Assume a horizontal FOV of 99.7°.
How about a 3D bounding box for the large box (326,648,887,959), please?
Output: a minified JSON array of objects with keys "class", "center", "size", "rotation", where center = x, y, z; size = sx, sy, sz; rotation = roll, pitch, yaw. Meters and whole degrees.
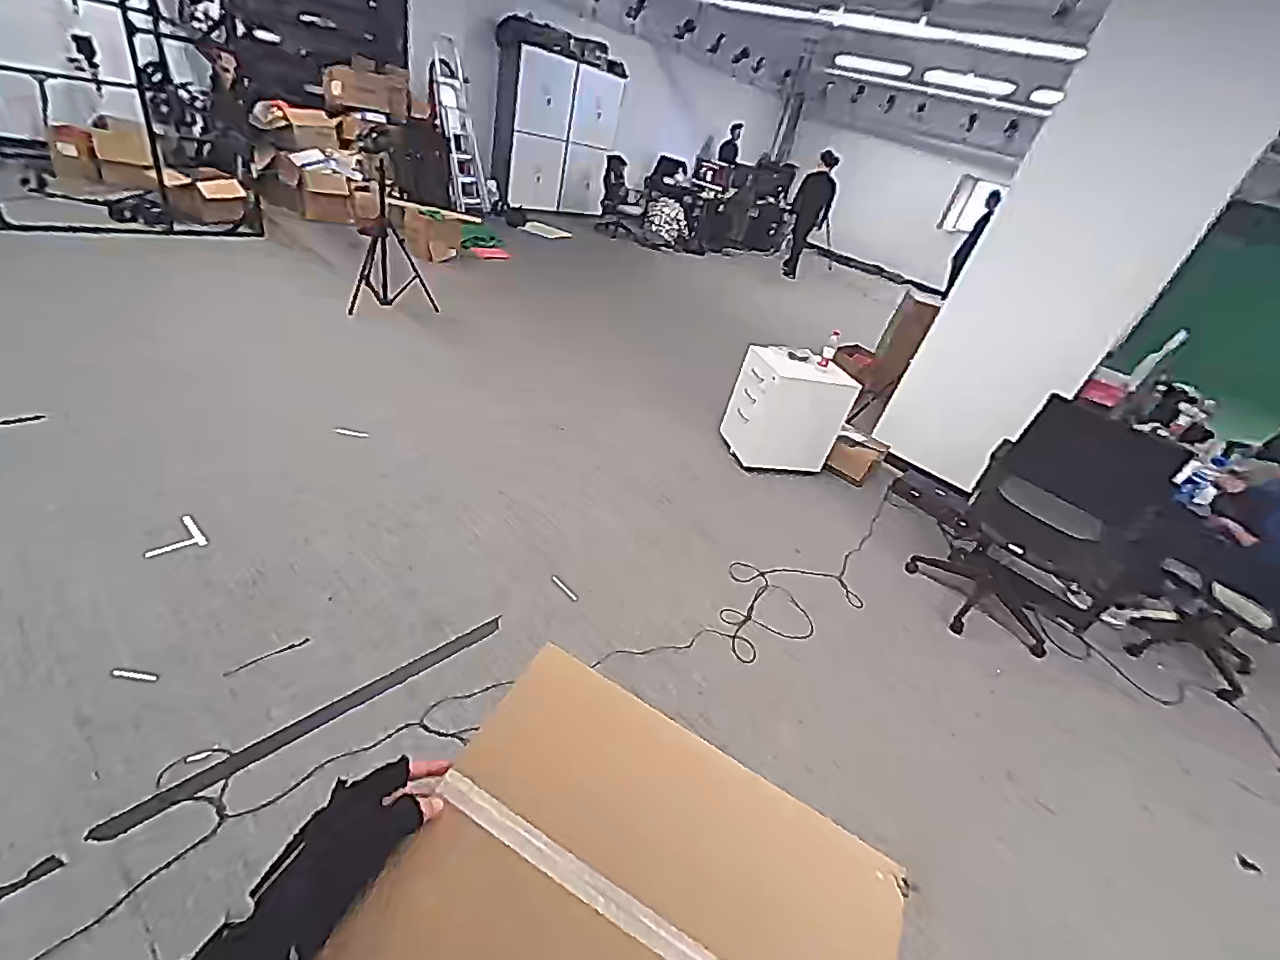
[{"class":"large box","center":[-0.030,0.459,0.566],"size":[0.408,0.320,0.320],"rotation":[29,48,10]}]
